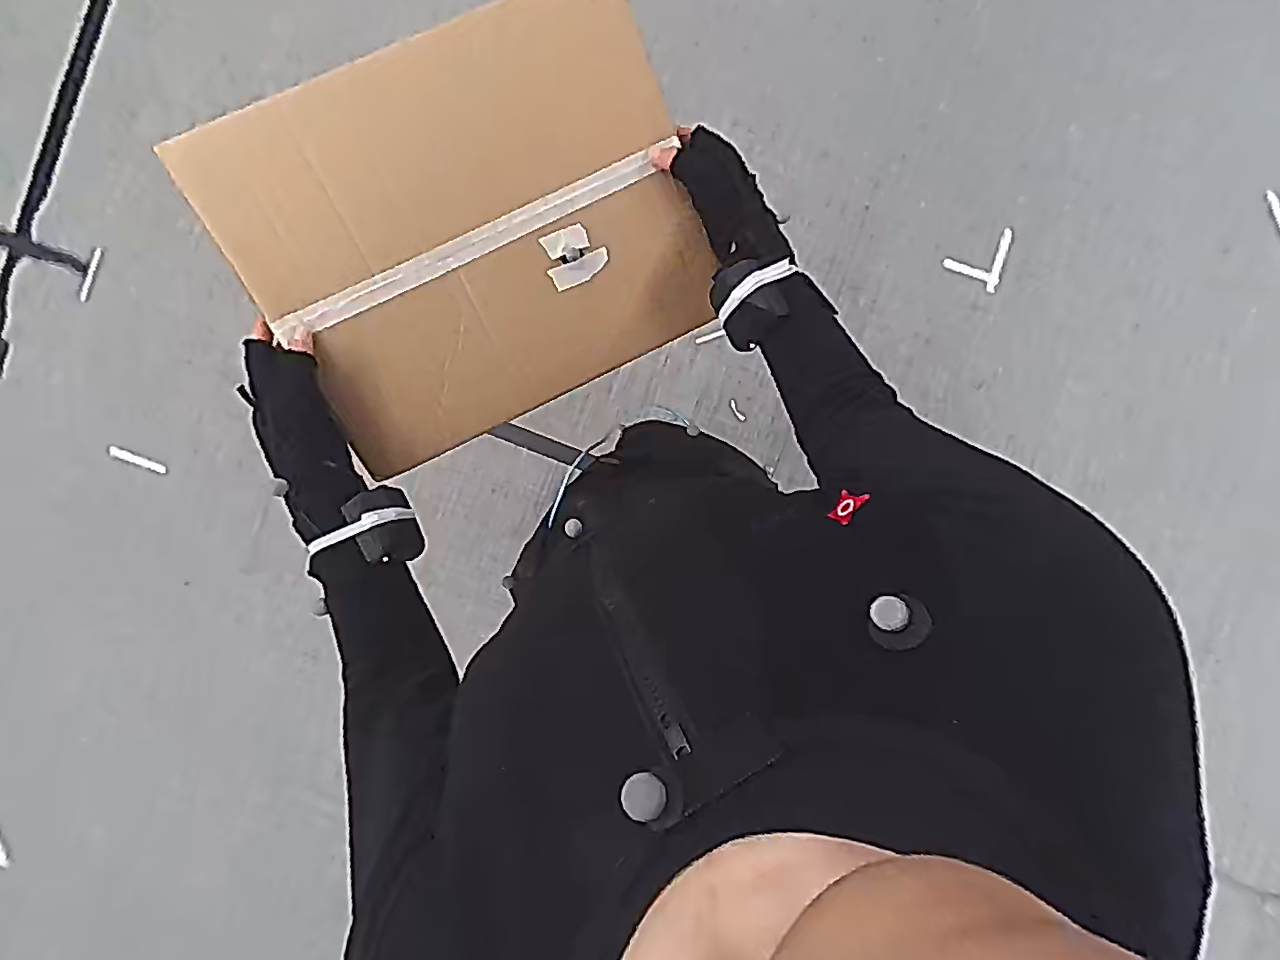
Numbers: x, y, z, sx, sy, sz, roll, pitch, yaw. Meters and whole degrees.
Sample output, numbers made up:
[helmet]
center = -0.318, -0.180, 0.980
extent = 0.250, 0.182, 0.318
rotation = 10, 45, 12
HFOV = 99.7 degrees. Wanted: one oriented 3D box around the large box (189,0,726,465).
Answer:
[large box]
center = -0.174, -0.269, 0.649
extent = 0.408, 0.320, 0.320
rotation = -26, 111, -5
